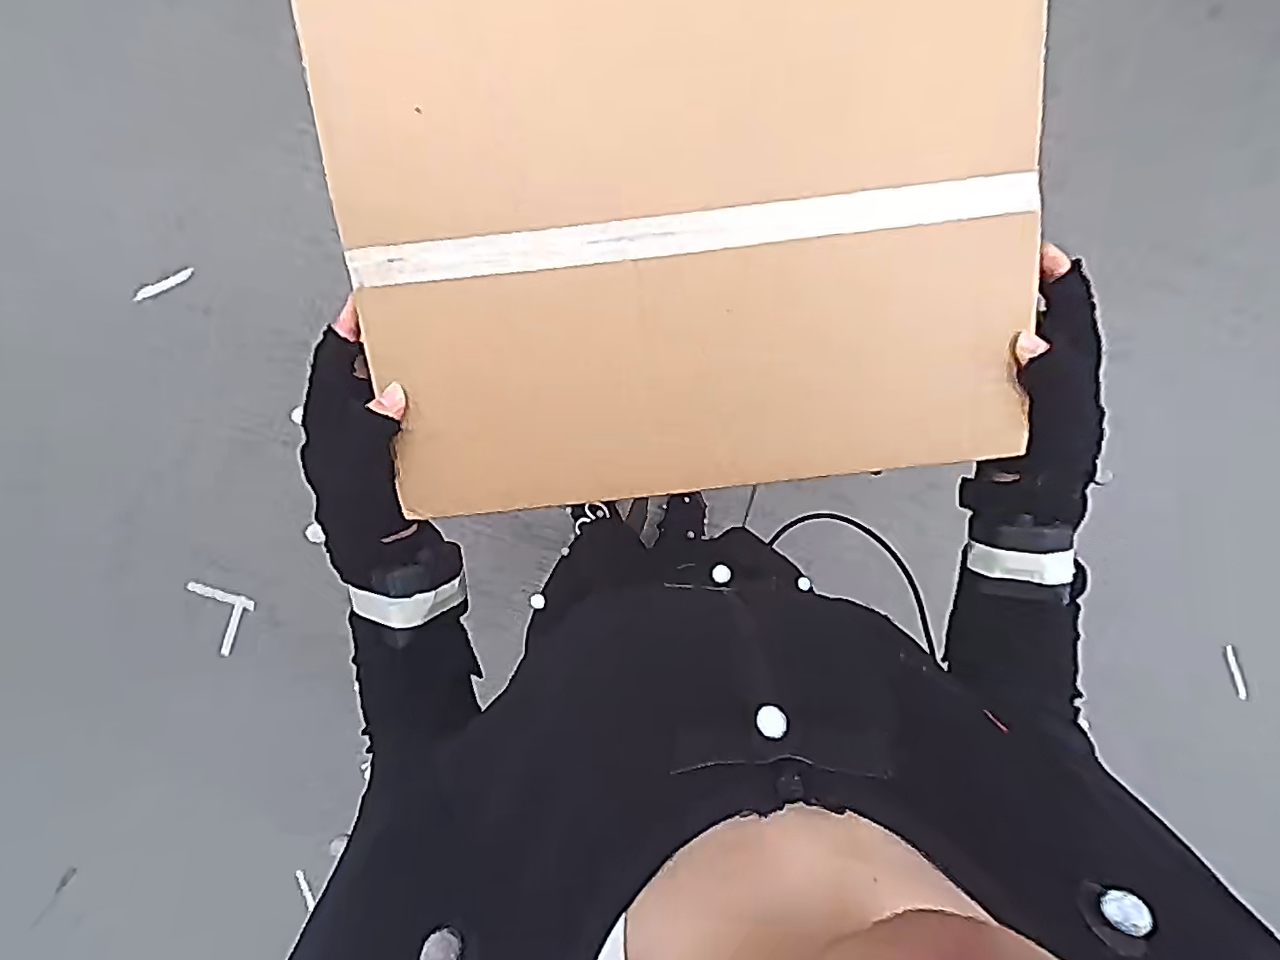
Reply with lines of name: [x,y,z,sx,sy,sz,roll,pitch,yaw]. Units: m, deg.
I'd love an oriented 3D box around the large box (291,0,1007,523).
large box: [0.020,-0.179,0.473,0.408,0.320,0.320,-7,103,0]
